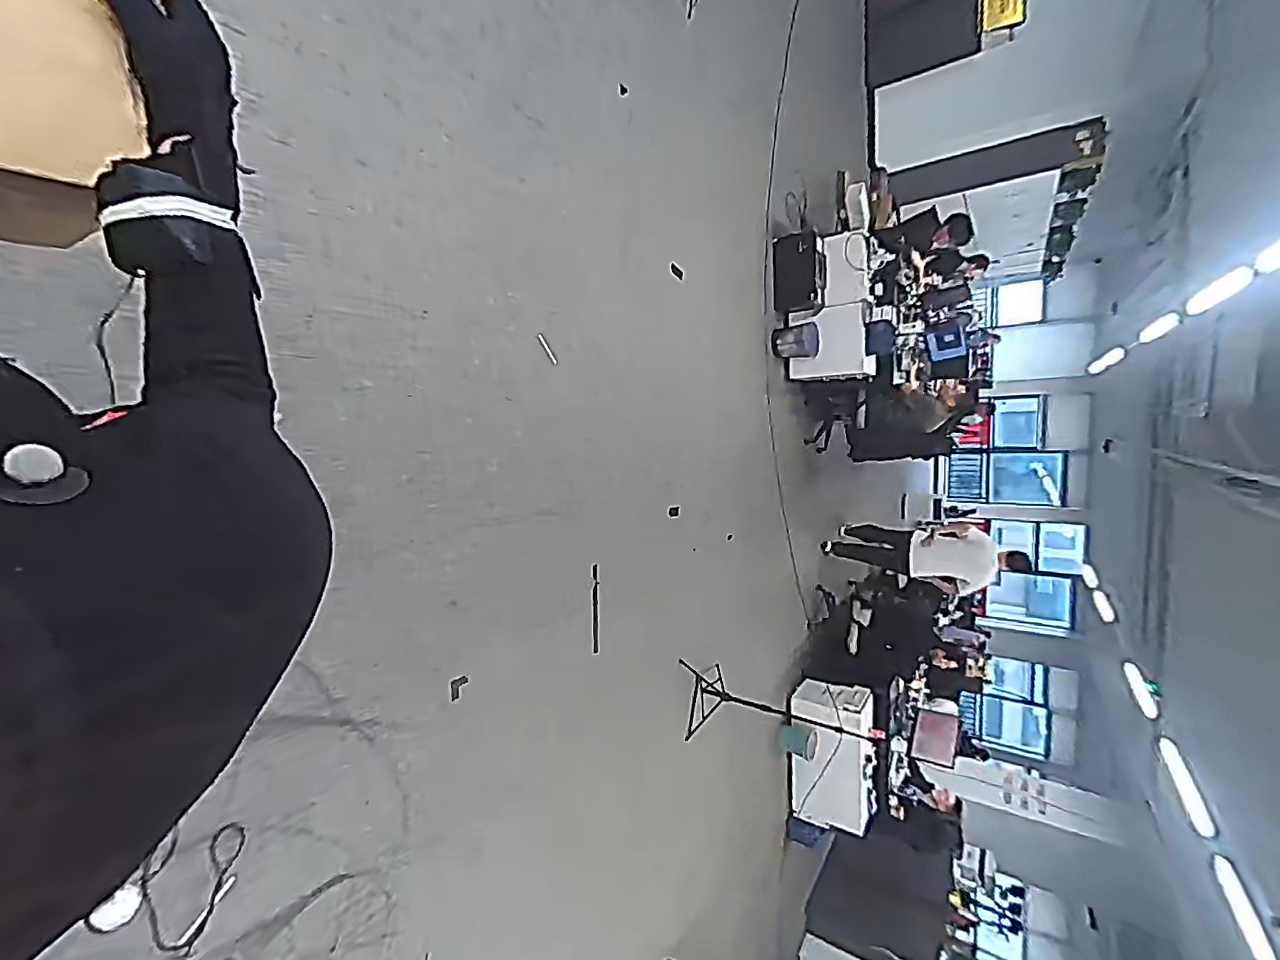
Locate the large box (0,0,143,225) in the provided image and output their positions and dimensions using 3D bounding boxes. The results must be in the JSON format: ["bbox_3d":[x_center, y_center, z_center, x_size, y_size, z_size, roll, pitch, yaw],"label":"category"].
[{"bbox_3d":[-0.607,-0.369,0.304,0.408,0.320,0.320,-12,109,-55],"label":"large box"}]
